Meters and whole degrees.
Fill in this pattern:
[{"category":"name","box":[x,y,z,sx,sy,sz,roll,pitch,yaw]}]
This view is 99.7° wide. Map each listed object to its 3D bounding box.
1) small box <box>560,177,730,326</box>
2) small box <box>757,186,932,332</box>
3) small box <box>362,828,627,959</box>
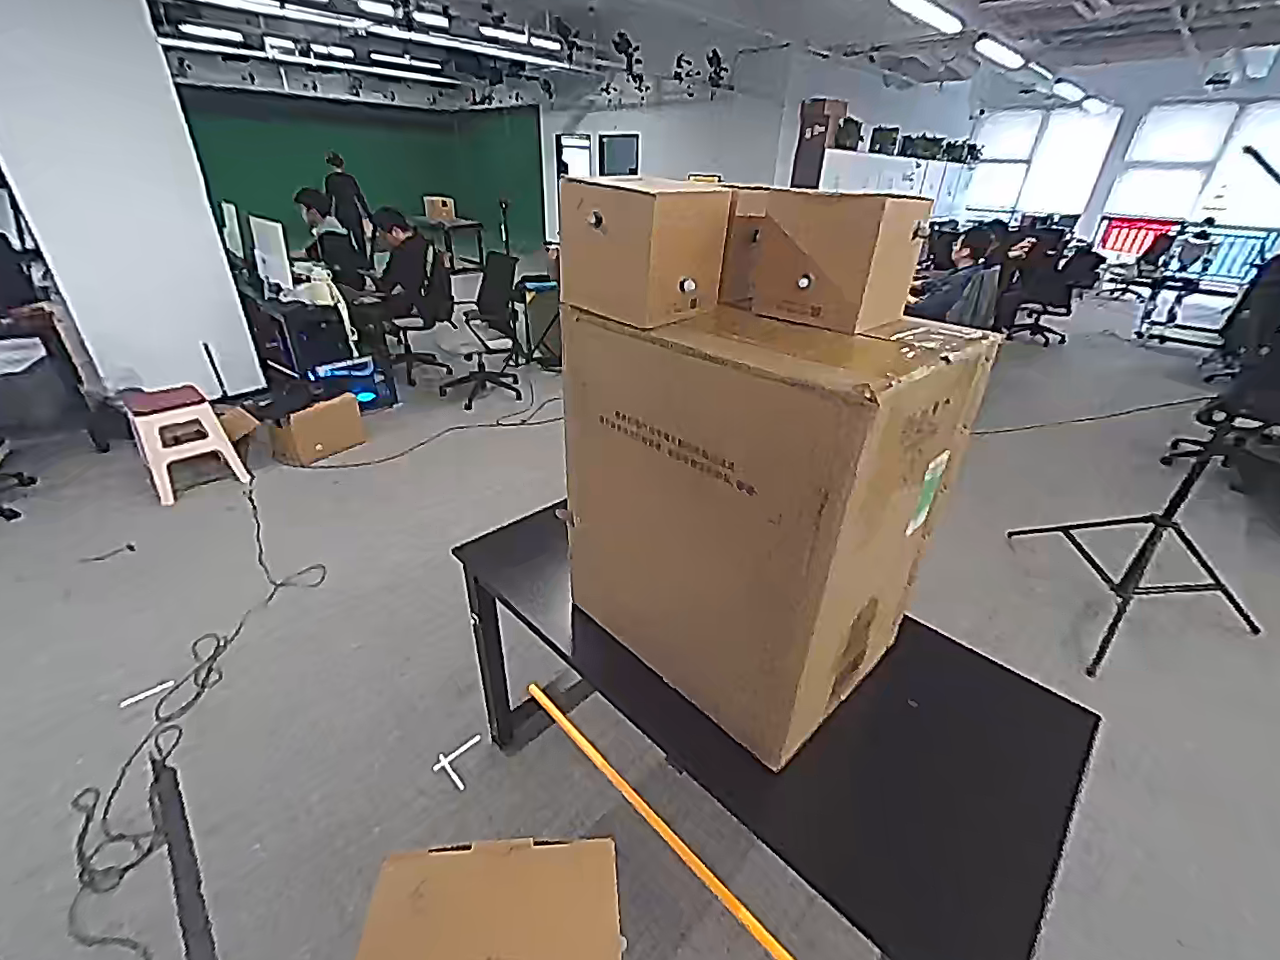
[{"category":"small box","box":[0.001,-0.330,0.773,0.179,0.176,0.168,29,40,33]},{"category":"small box","box":[0.286,-0.321,0.779,0.168,0.176,0.179,25,35,36]},{"category":"small box","box":[-0.099,0.373,0.368,0.168,0.176,0.179,3,35,-10]}]
